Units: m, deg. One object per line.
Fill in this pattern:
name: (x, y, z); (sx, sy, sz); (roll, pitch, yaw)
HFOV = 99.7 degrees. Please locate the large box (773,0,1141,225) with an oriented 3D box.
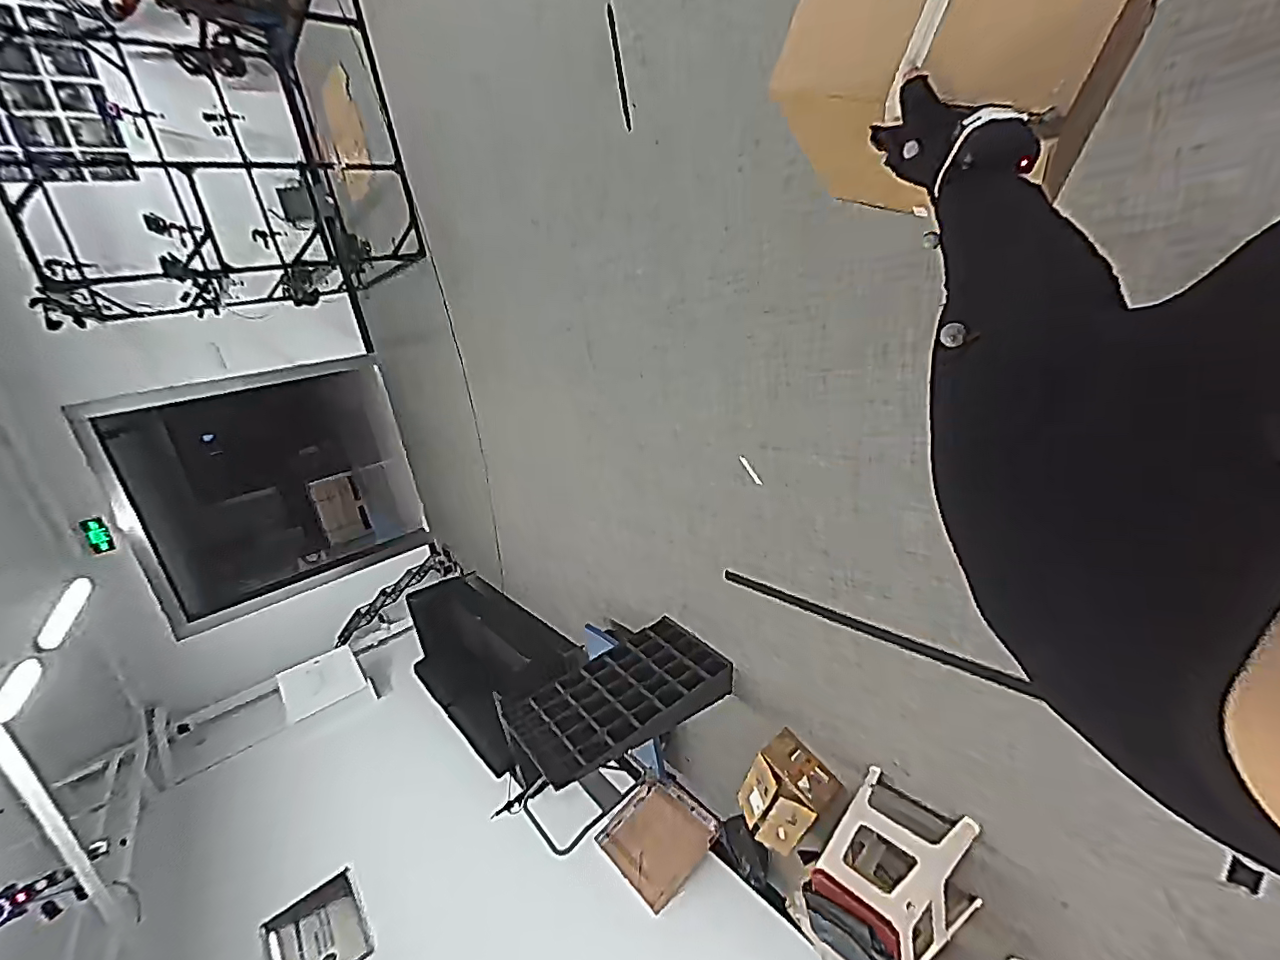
large box: (0.419, -0.592, 0.658); (0.320, 0.320, 0.408); (29, 108, 29)
